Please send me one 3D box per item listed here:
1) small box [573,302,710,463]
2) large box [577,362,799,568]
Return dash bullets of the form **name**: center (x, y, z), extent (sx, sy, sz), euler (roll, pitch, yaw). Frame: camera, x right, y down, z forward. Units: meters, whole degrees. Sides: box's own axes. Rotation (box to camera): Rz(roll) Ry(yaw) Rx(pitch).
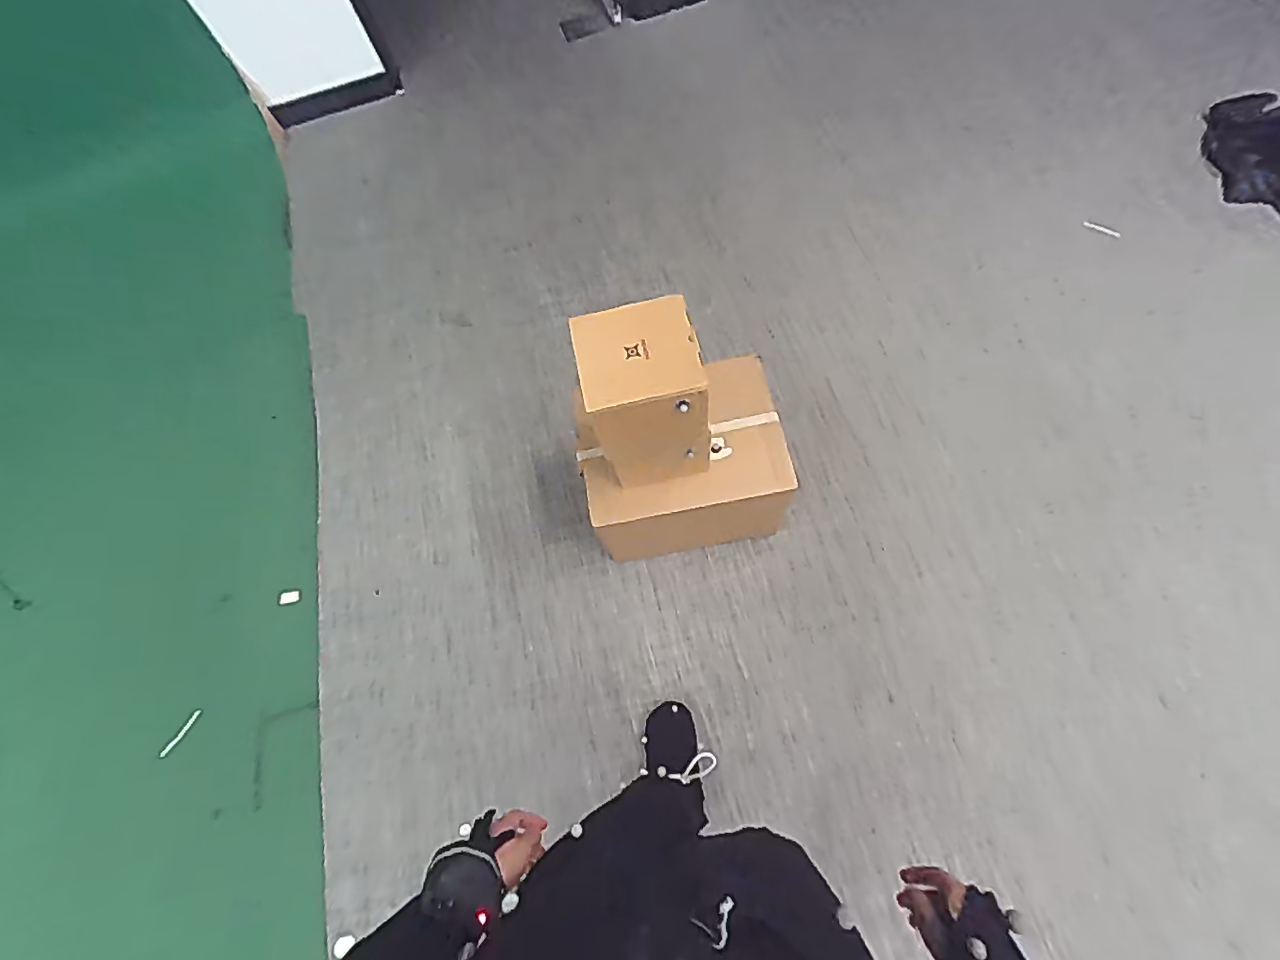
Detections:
- **small box**: center (0.007, -0.143, 0.843), extent (0.179, 0.176, 0.168), euler (-13, 67, 0)
- **large box**: center (0.096, -0.017, 1.224), extent (0.408, 0.320, 0.320), euler (-11, 68, 1)
